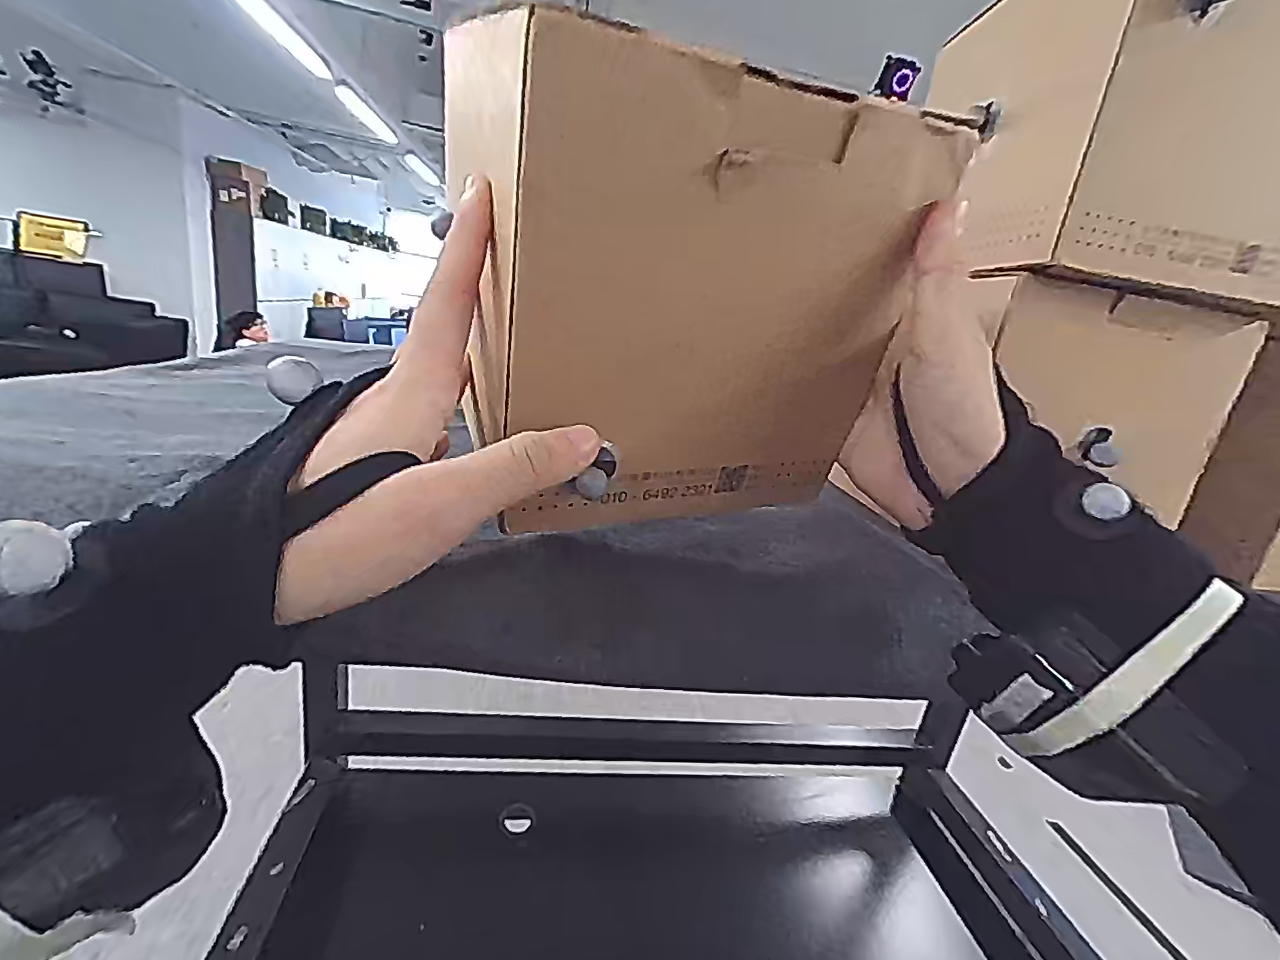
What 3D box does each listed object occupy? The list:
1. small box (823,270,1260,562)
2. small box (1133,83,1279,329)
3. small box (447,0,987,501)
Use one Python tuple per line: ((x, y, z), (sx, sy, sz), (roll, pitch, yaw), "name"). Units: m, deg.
((0.262, -0.052, 0.406), (0.168, 0.176, 0.179), (8, 17, -8), "small box")
((0.523, -0.181, 0.384), (0.179, 0.176, 0.168), (6, 16, -14), "small box")
((0.004, -0.101, 0.263), (0.168, 0.176, 0.179), (-5, 37, -25), "small box")
